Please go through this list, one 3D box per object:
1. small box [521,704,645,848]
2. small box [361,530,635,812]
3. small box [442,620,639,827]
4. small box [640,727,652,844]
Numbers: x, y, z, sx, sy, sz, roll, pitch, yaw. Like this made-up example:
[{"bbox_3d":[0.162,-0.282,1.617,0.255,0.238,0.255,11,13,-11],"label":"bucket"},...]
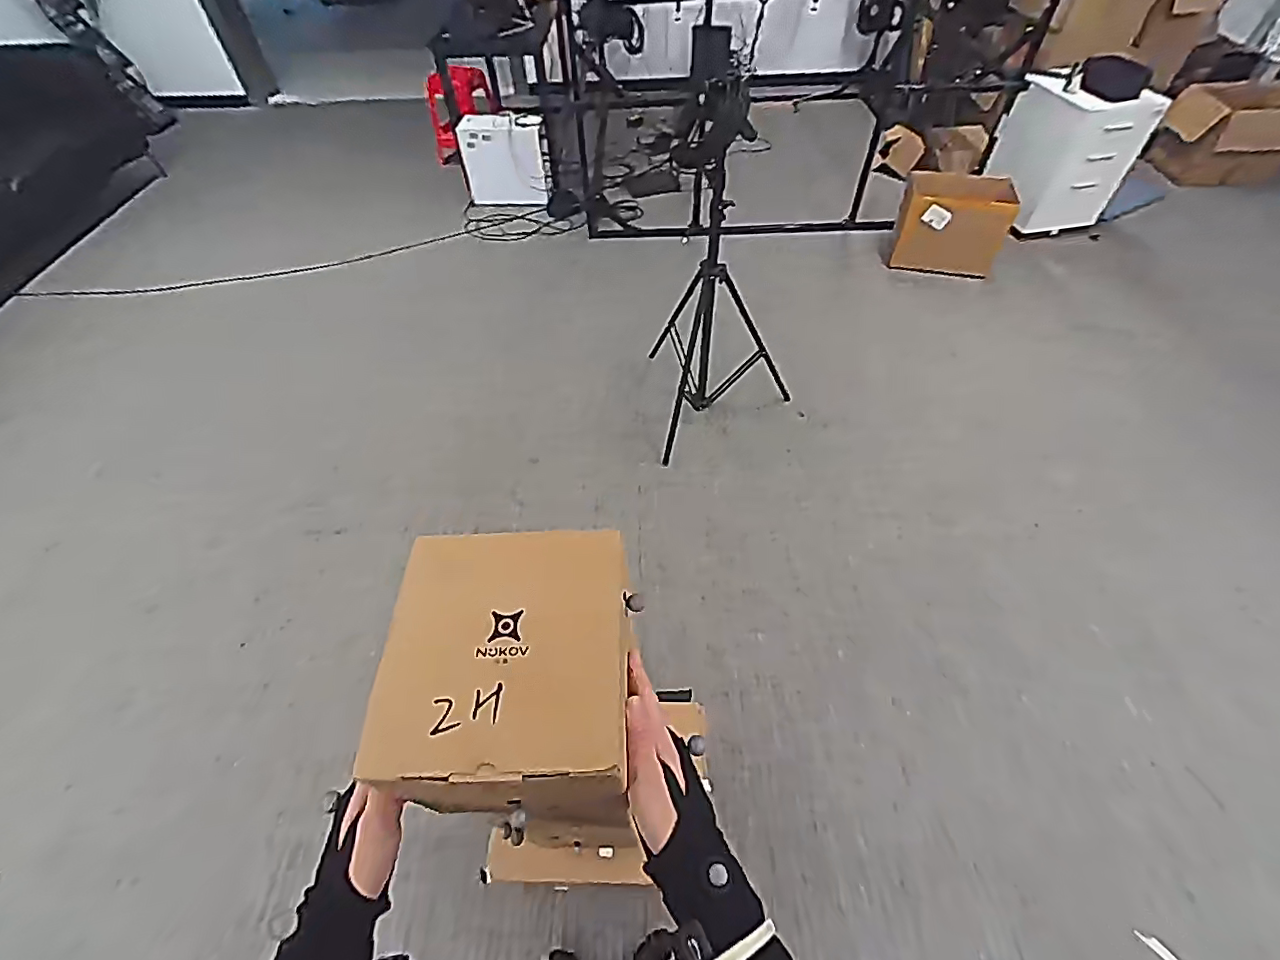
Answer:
[{"bbox_3d":[-0.078,0.458,0.836,0.168,0.176,0.179,-2,53,1],"label":"small box"},{"bbox_3d":[-0.091,0.159,0.444,0.168,0.176,0.179,-3,53,1],"label":"small box"},{"bbox_3d":[-0.087,0.259,0.575,0.168,0.176,0.179,0,52,2],"label":"small box"},{"bbox_3d":[-0.070,0.552,0.968,0.179,0.176,0.168,-2,53,0],"label":"small box"}]
